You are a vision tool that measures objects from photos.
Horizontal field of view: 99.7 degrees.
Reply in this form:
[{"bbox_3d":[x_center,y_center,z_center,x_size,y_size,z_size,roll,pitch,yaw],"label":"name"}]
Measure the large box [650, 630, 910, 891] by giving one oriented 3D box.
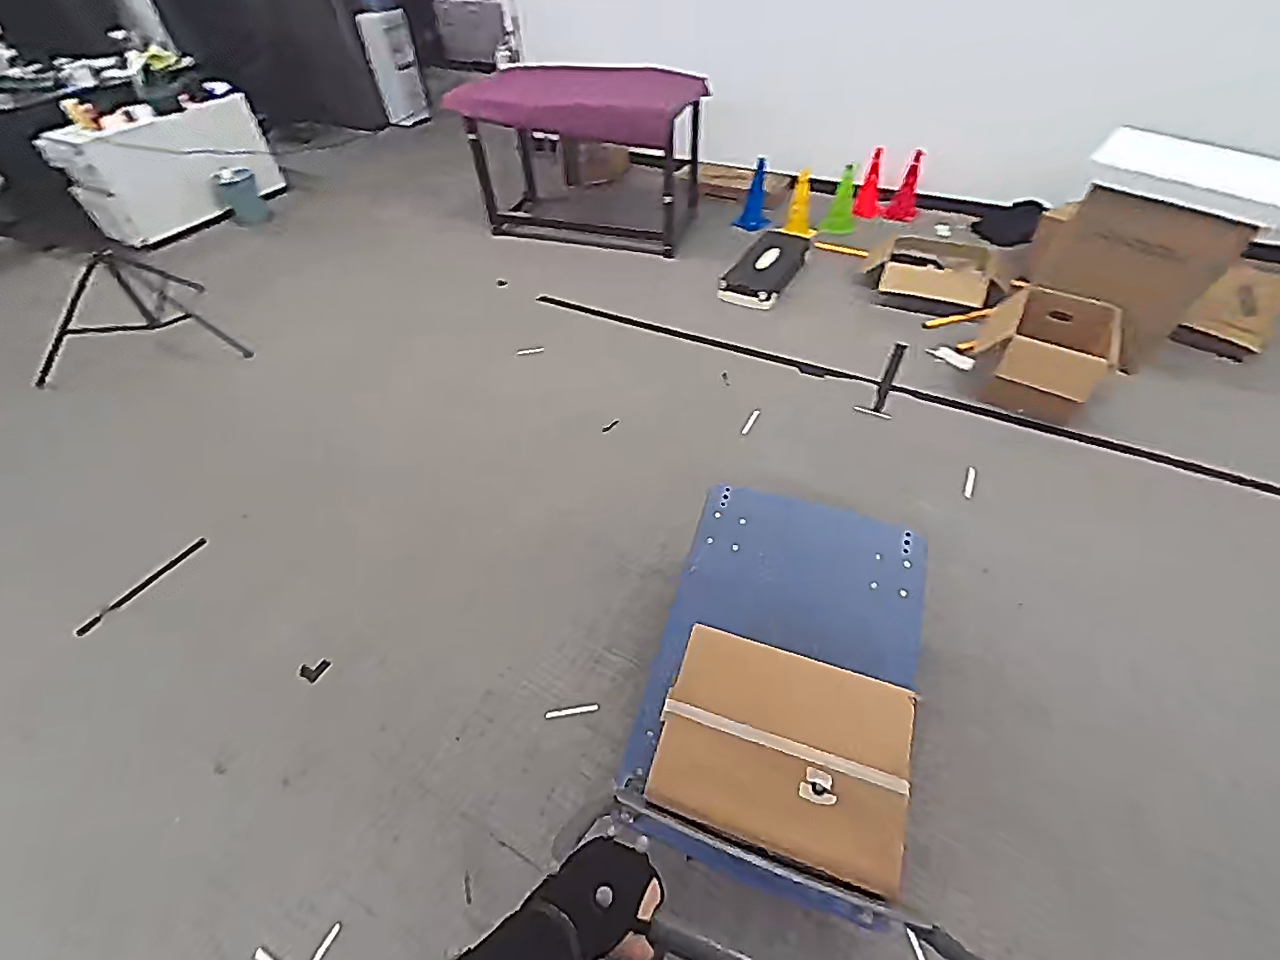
[{"bbox_3d":[0.258,0.536,1.064,0.408,0.320,0.320,14,62,13],"label":"large box"}]
